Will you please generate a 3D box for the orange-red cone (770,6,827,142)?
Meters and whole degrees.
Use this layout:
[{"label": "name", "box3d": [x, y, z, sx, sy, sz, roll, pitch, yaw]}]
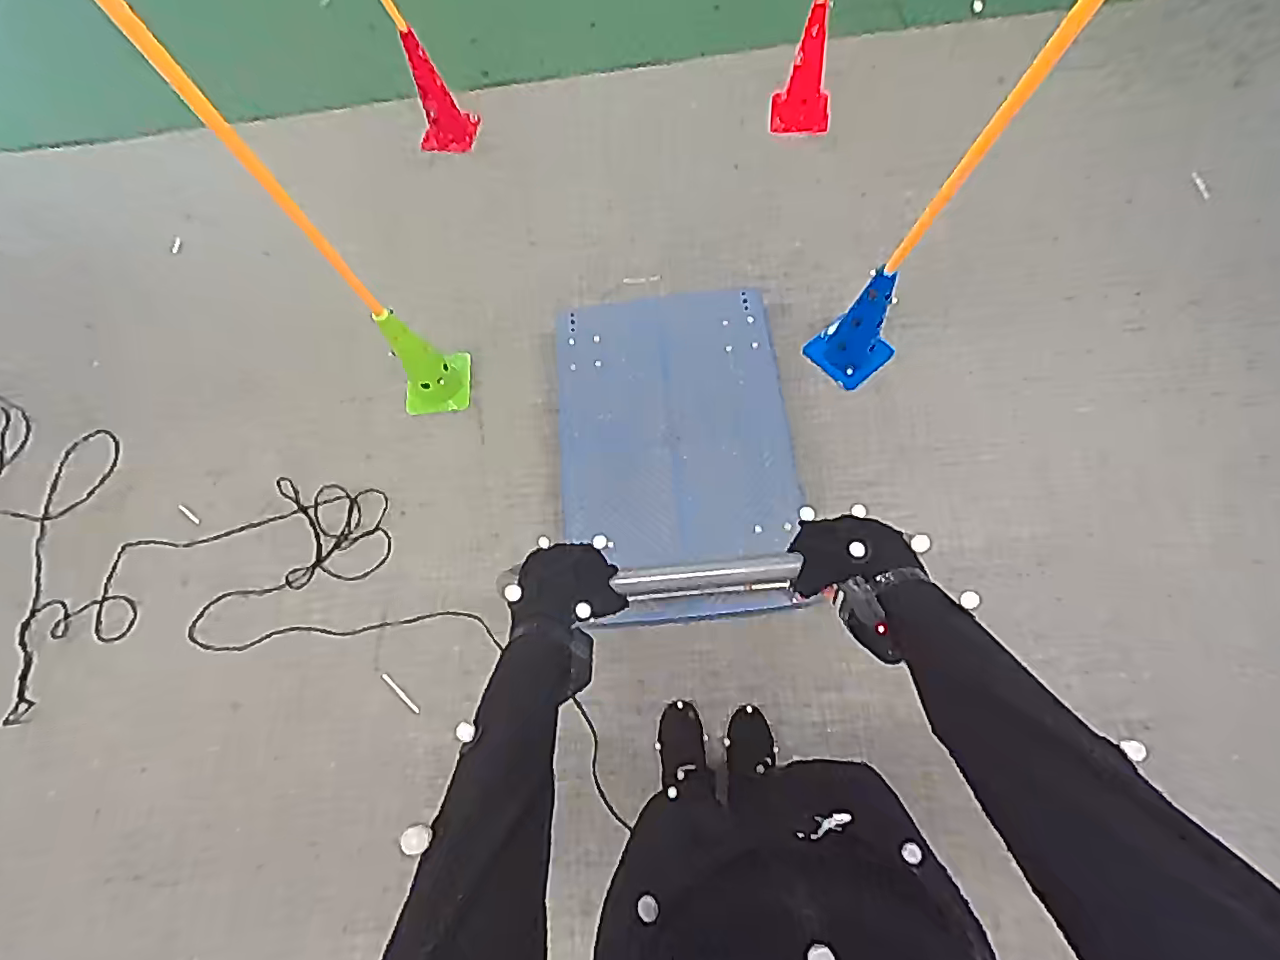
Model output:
[{"label": "orange-red cone", "box3d": [0.553, -1.344, 1.780, 0.198, 0.360, 0.199, 5, 72, 8]}]
